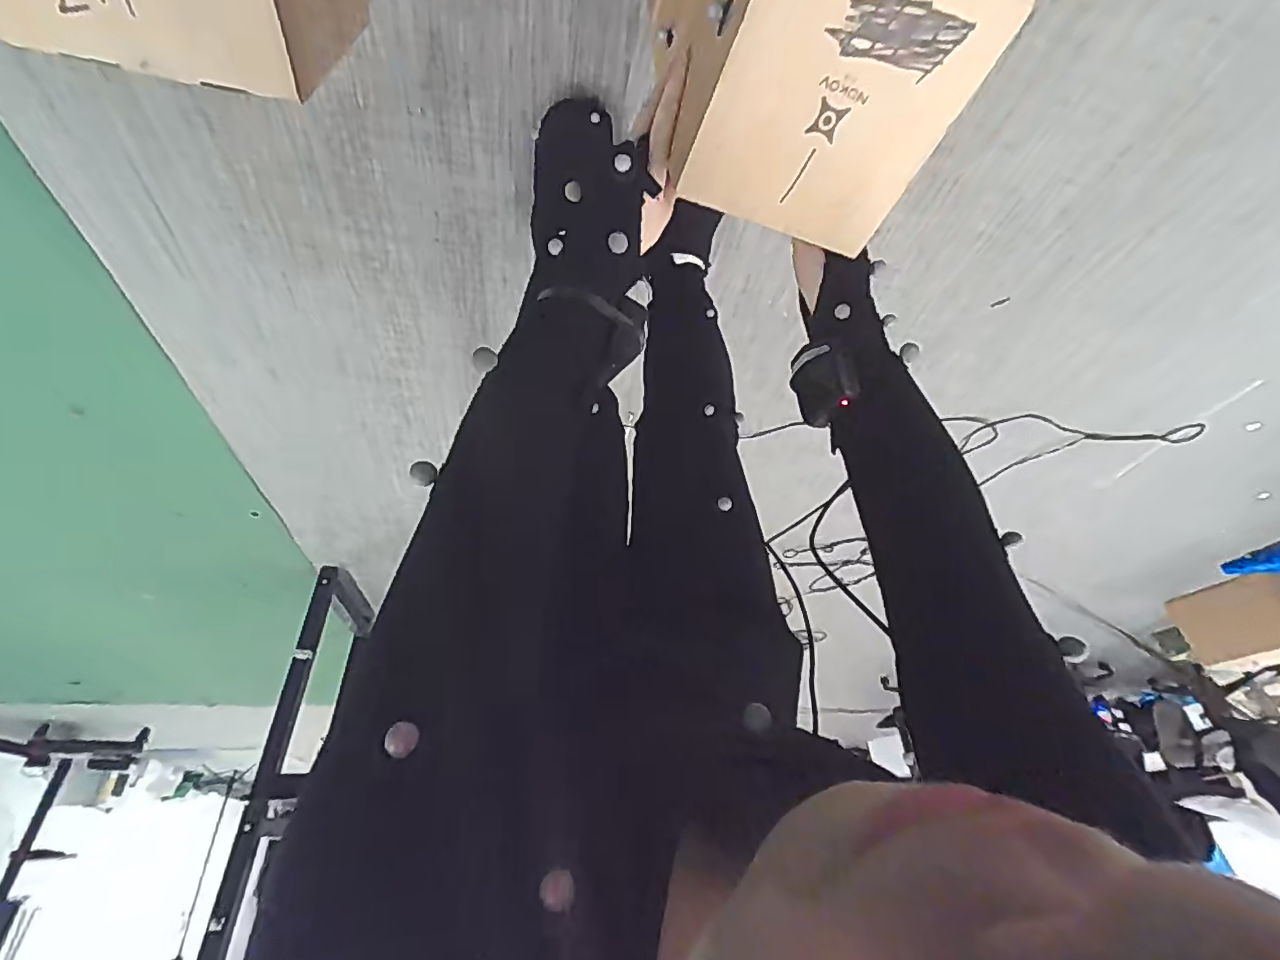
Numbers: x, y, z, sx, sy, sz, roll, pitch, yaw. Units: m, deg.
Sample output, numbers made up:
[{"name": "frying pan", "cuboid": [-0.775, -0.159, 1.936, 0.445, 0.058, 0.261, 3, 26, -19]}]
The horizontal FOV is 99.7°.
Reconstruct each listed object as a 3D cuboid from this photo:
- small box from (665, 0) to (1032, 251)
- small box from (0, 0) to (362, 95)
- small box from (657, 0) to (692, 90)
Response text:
[{"name": "small box", "cuboid": [0.124, -0.313, 0.401, 0.168, 0.176, 0.179, 10, 142, -17]}, {"name": "small box", "cuboid": [-0.280, -0.367, 0.307, 0.168, 0.176, 0.179, 6, 144, -10]}, {"name": "small box", "cuboid": [0.118, -0.455, 0.493, 0.168, 0.176, 0.179, 9, 144, -16]}]
